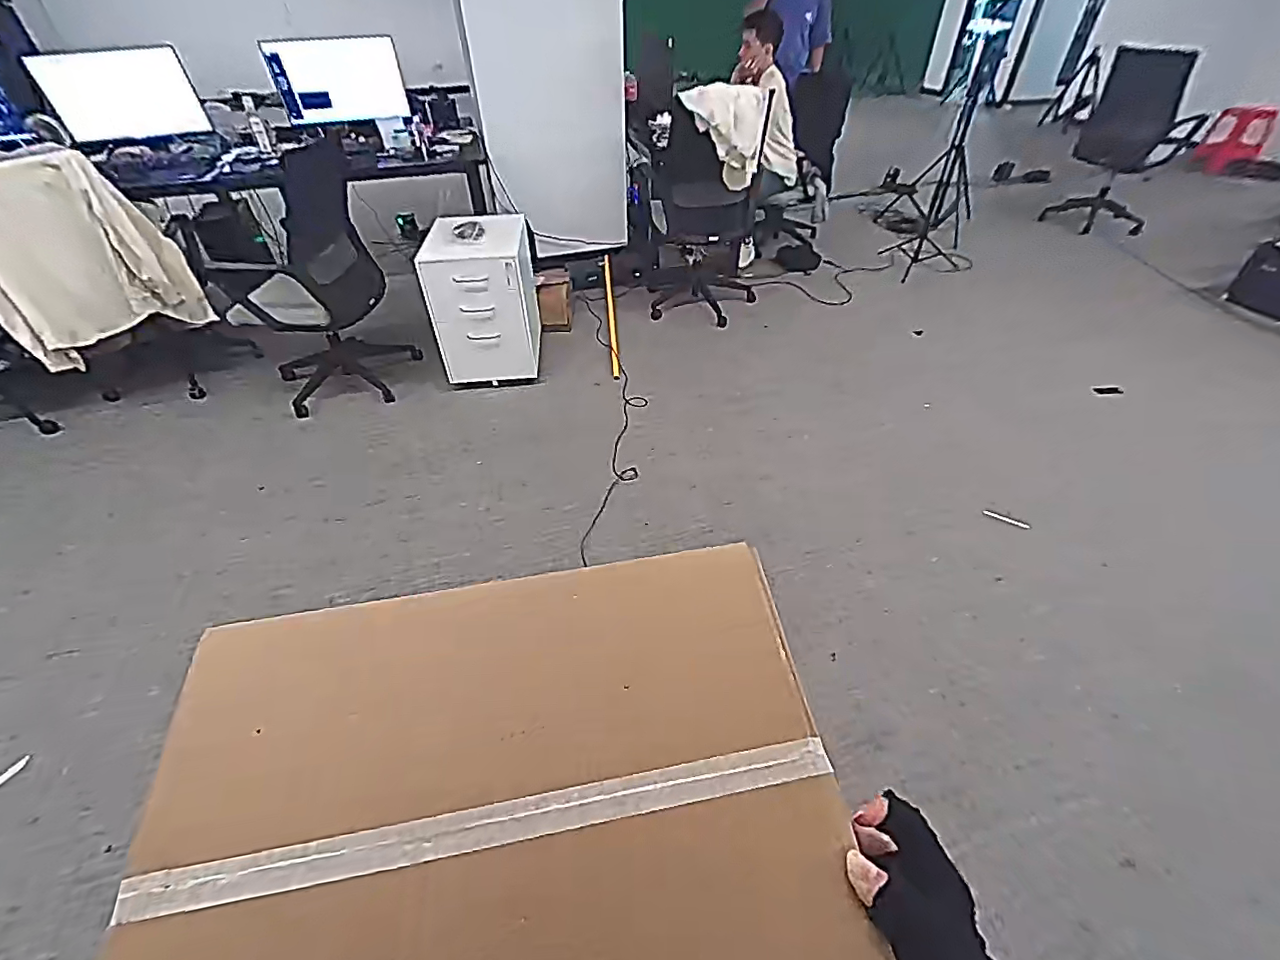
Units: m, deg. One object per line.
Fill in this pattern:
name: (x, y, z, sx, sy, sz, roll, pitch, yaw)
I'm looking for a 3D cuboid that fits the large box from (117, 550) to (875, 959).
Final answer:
large box: (-0.086, 0.294, 0.446, 0.408, 0.320, 0.320, -9, 53, -6)
